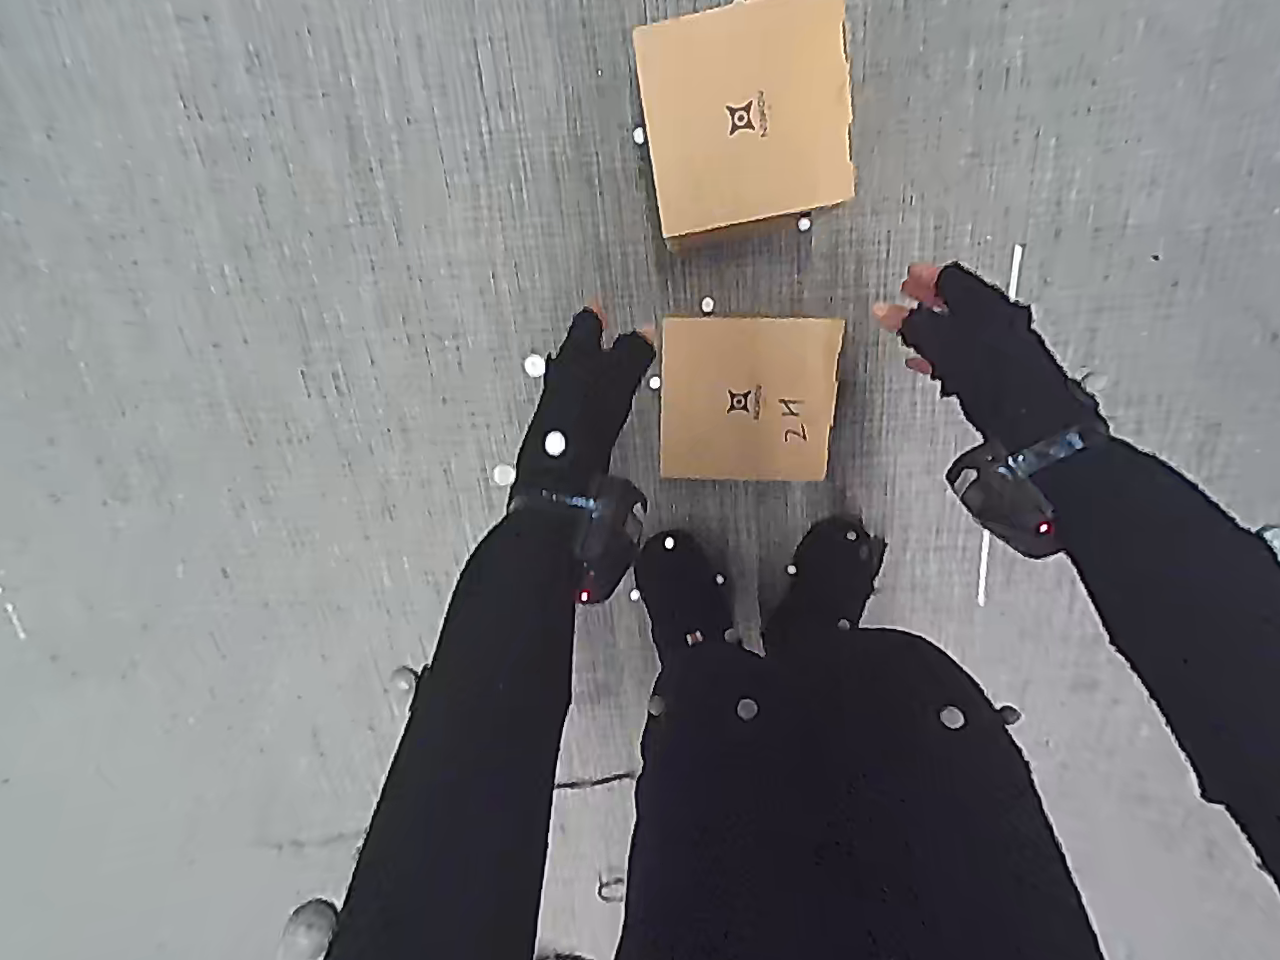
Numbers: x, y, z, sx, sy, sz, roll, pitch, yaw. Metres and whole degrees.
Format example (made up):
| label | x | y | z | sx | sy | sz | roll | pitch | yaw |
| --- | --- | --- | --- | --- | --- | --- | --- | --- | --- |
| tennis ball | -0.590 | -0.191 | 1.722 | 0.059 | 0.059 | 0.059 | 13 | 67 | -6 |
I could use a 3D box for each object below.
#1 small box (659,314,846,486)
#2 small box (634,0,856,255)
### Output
| label | x | y | z | sx | sy | sz | roll | pitch | yaw |
| --- | --- | --- | --- | --- | --- | --- | --- | --- | --- |
| small box | 0.115 | -0.099 | 0.617 | 0.179 | 0.176 | 0.168 | 1 | 109 | 4 |
| small box | 0.099 | -0.333 | 0.542 | 0.179 | 0.176 | 0.168 | -9 | 107 | 6 |
